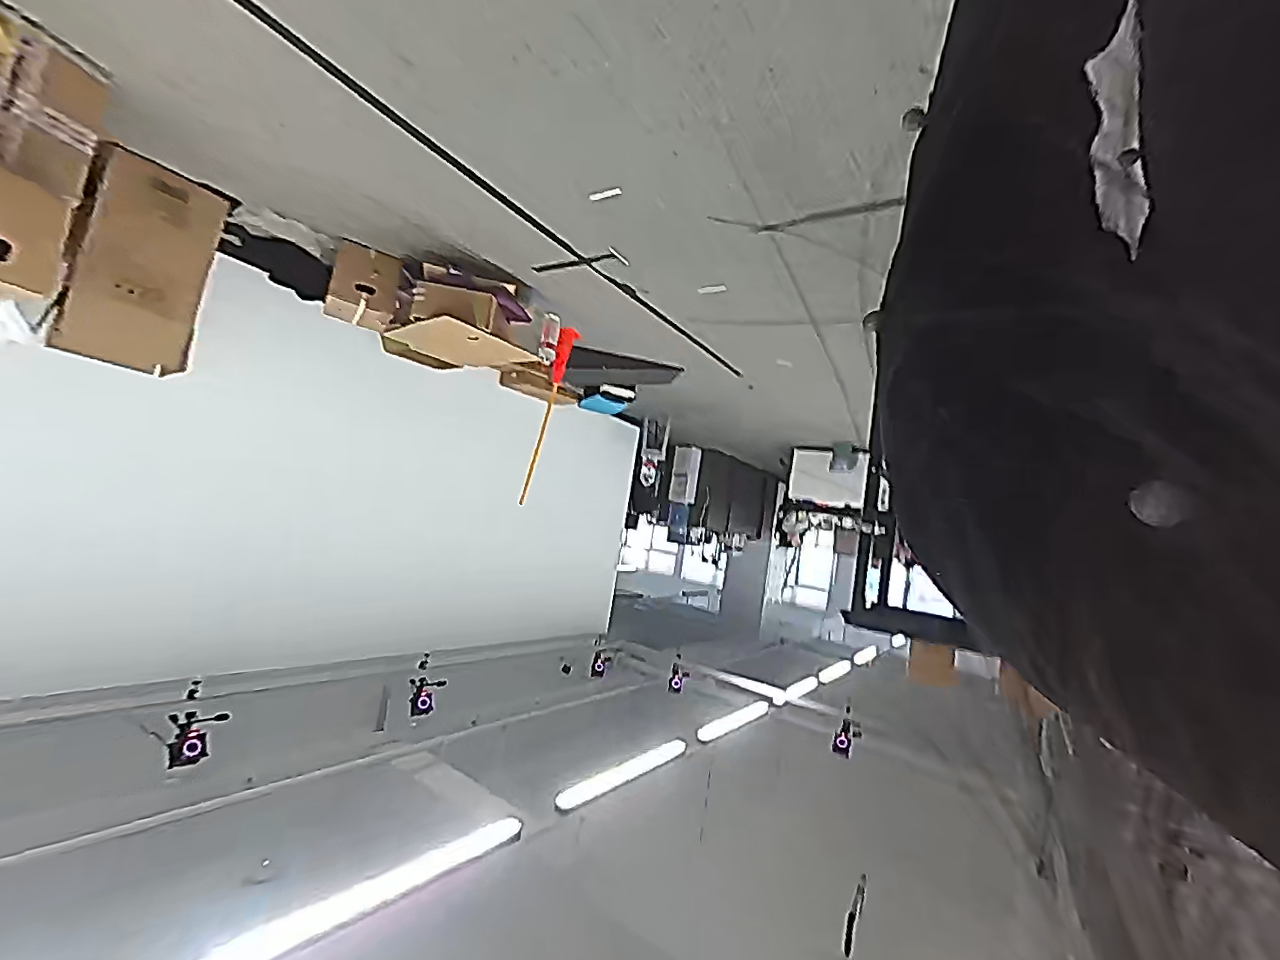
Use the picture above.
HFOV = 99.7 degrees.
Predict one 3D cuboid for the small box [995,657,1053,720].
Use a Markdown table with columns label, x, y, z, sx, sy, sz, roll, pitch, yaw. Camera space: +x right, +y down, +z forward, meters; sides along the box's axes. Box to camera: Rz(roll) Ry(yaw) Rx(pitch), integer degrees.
| label | x | y | z | sx | sy | sz | roll | pitch | yaw |
| --- | --- | --- | --- | --- | --- | --- | --- | --- | --- |
| small box | 1.450 | 0.781 | 2.045 | 0.168 | 0.176 | 0.179 | 7 | 177 | 35 |

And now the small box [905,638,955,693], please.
| label | x | y | z | sx | sy | sz | roll | pitch | yaw |
| --- | --- | --- | --- | --- | --- | --- | --- | --- | --- |
| small box | 1.192 | 0.753 | 2.220 | 0.168 | 0.176 | 0.179 | 6 | 175 | 29 |
